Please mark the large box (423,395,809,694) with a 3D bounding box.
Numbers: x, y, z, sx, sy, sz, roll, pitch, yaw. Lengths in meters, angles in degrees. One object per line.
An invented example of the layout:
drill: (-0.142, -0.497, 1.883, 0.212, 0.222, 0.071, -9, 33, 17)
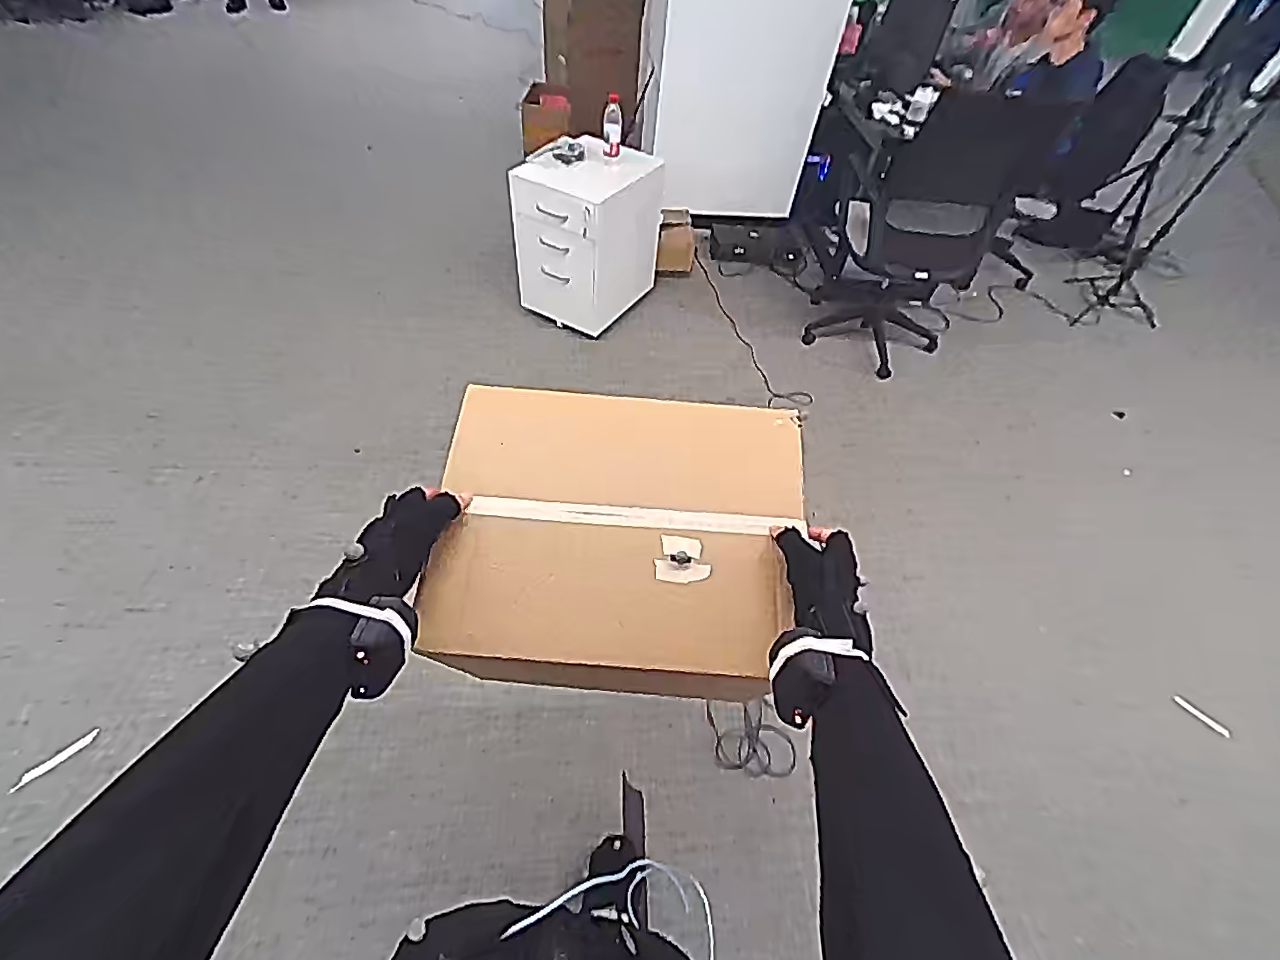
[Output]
large box: (-0.024, 0.108, 0.745, 0.408, 0.320, 0.320, 5, 65, -1)
